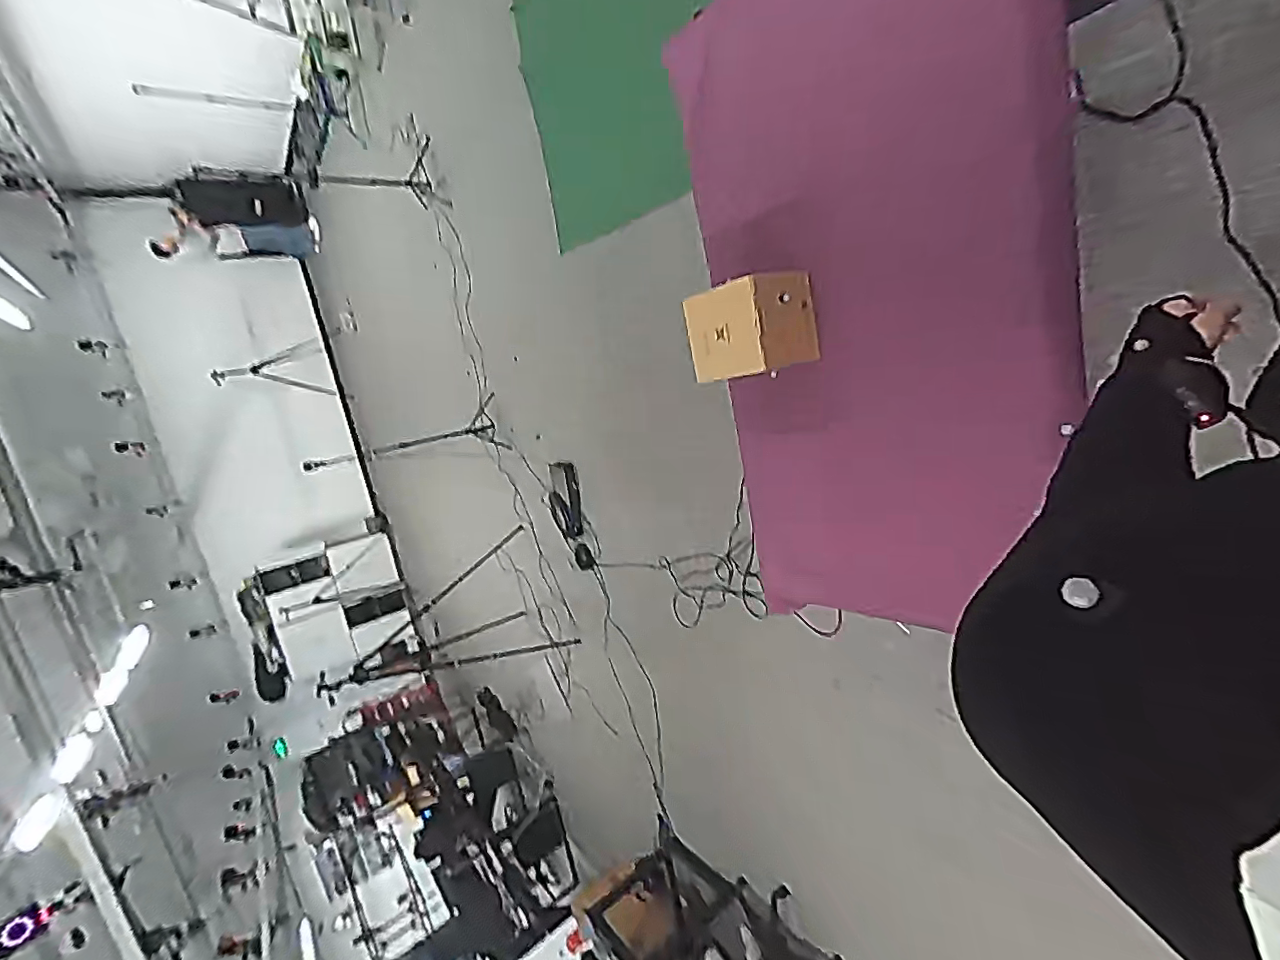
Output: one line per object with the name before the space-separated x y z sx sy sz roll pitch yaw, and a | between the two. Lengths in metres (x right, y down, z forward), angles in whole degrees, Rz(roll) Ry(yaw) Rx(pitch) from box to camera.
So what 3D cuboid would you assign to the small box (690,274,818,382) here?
small box | 0.227 -0.293 1.049 0.179 0.176 0.168 1 105 54
